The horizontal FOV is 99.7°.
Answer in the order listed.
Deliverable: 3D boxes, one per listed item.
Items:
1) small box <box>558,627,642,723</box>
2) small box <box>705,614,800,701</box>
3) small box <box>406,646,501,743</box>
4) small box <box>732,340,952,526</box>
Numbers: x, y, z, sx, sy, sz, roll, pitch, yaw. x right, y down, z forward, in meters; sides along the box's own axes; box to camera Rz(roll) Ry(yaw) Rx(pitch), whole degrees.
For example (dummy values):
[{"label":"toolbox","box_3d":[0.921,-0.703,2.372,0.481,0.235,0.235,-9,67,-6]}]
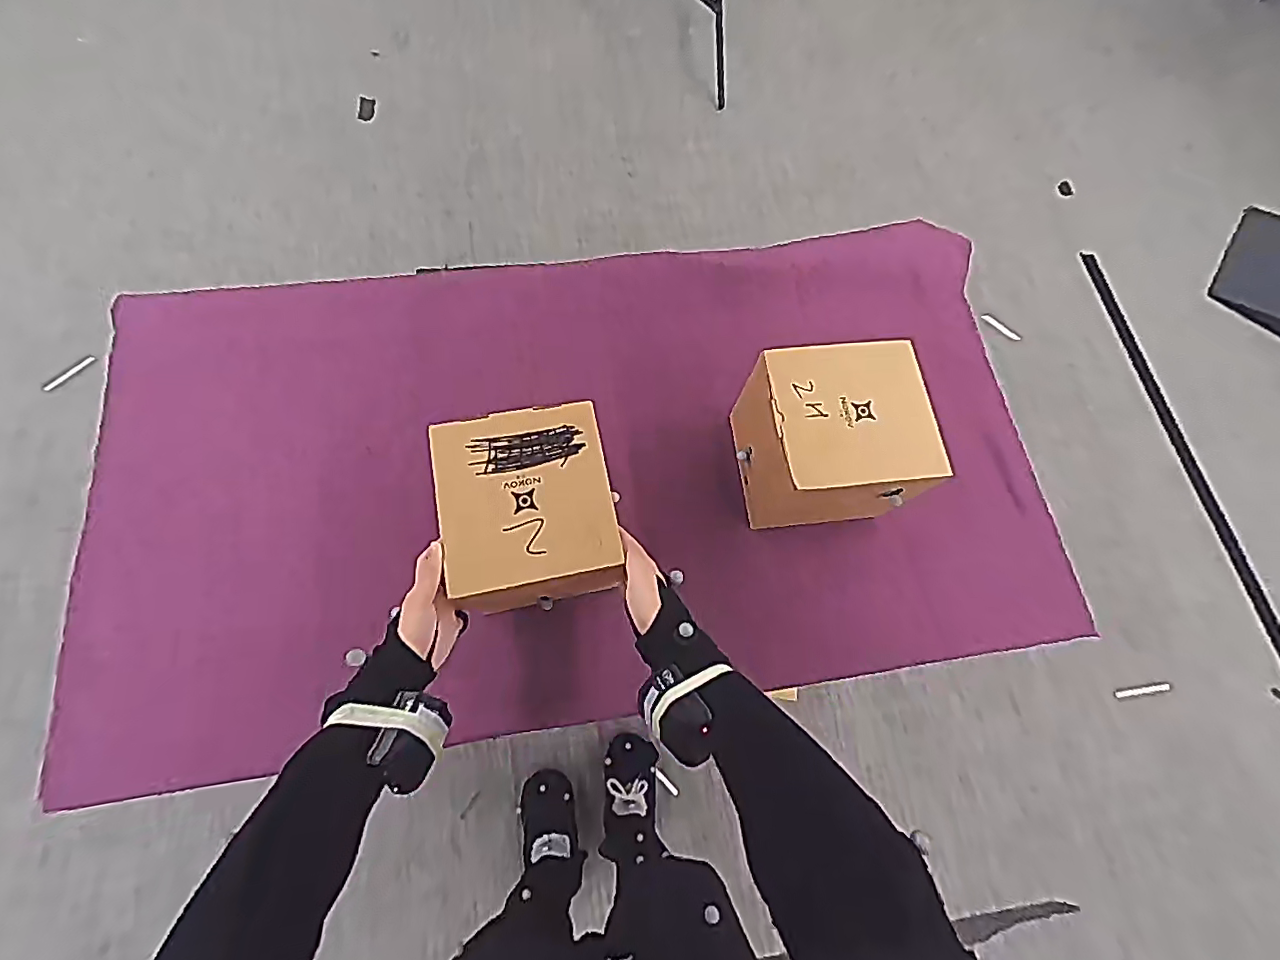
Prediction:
[{"label":"small box","box_3d":[-0.094,0.442,1.235,0.168,0.176,0.179,-8,73,-6]},{"label":"small box","box_3d":[0.261,0.414,1.271,0.179,0.176,0.168,9,72,0]},{"label":"small box","box_3d":[-0.407,0.474,1.203,0.168,0.176,0.179,-5,71,-6]},{"label":"small box","box_3d":[0.225,-0.049,0.650,0.179,0.176,0.168,-6,71,-5]}]
